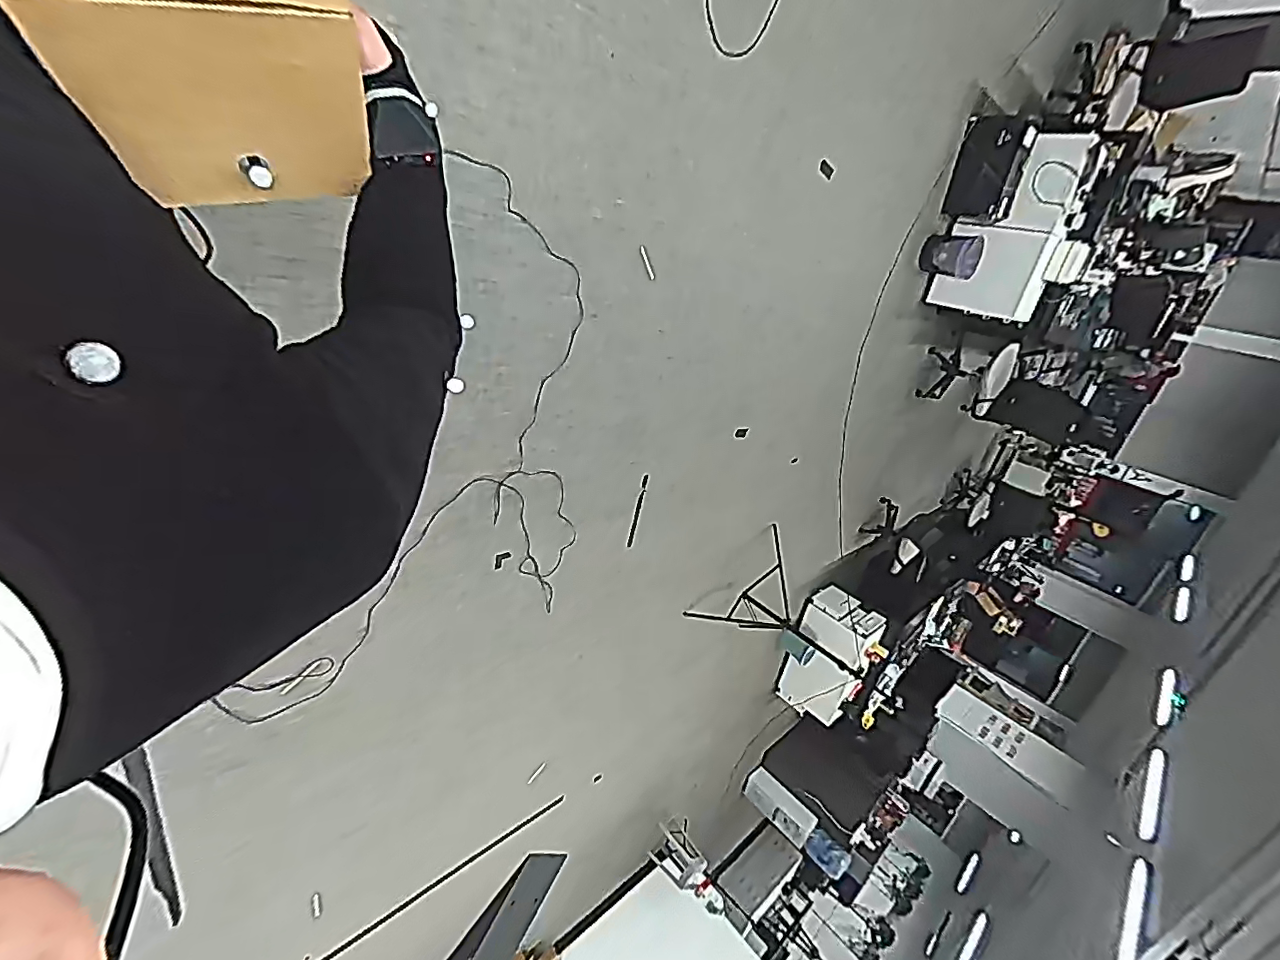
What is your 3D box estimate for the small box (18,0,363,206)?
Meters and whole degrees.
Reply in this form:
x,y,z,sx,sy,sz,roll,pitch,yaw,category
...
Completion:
x,y,z,sx,sy,sz,roll,pitch,yaw,category
-0.326,-0.338,0.413,0.179,0.176,0.168,-19,84,-26,small box
